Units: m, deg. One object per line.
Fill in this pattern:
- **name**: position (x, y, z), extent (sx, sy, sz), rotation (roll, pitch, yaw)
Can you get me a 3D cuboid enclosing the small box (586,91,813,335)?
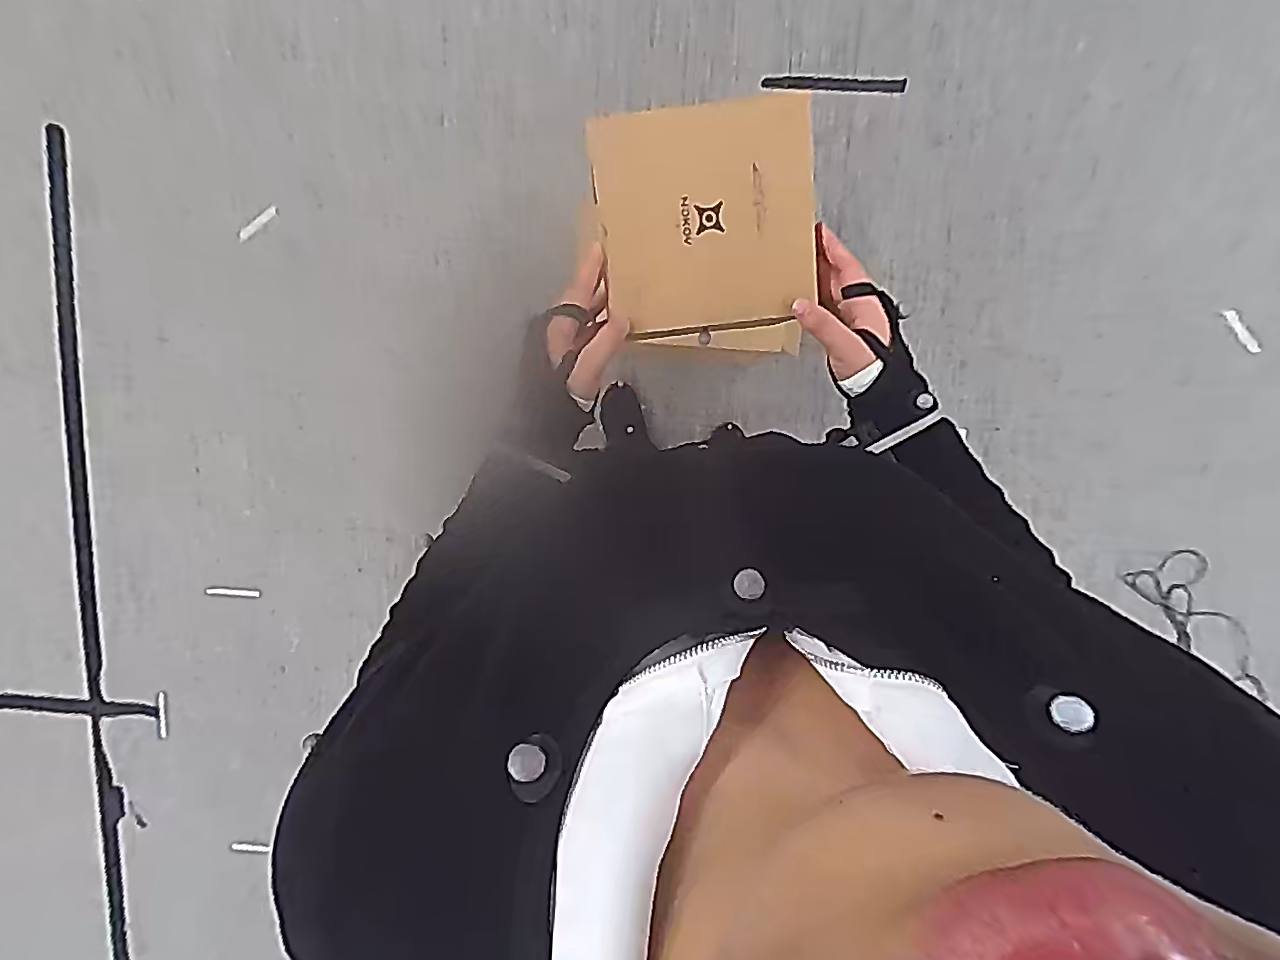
- **small box**: position (0.054, -0.234, 0.520), extent (0.179, 0.176, 0.168), rotation (-6, 104, 3)
